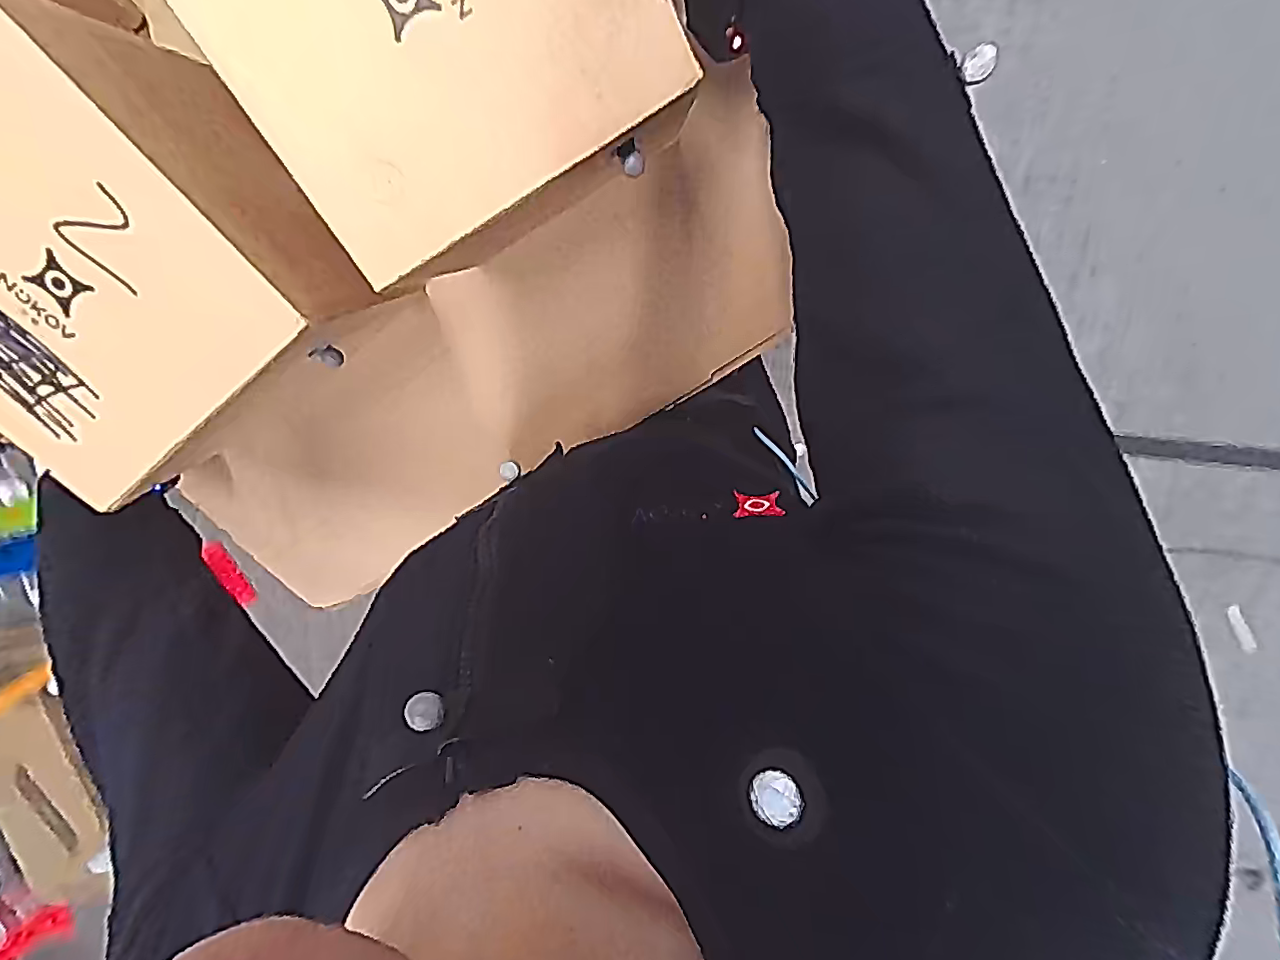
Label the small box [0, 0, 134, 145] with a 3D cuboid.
[{"bbox_3d":[-0.425,-0.293,0.262,0.168,0.176,0.179,-31,107,13],"label":"small box"}]
